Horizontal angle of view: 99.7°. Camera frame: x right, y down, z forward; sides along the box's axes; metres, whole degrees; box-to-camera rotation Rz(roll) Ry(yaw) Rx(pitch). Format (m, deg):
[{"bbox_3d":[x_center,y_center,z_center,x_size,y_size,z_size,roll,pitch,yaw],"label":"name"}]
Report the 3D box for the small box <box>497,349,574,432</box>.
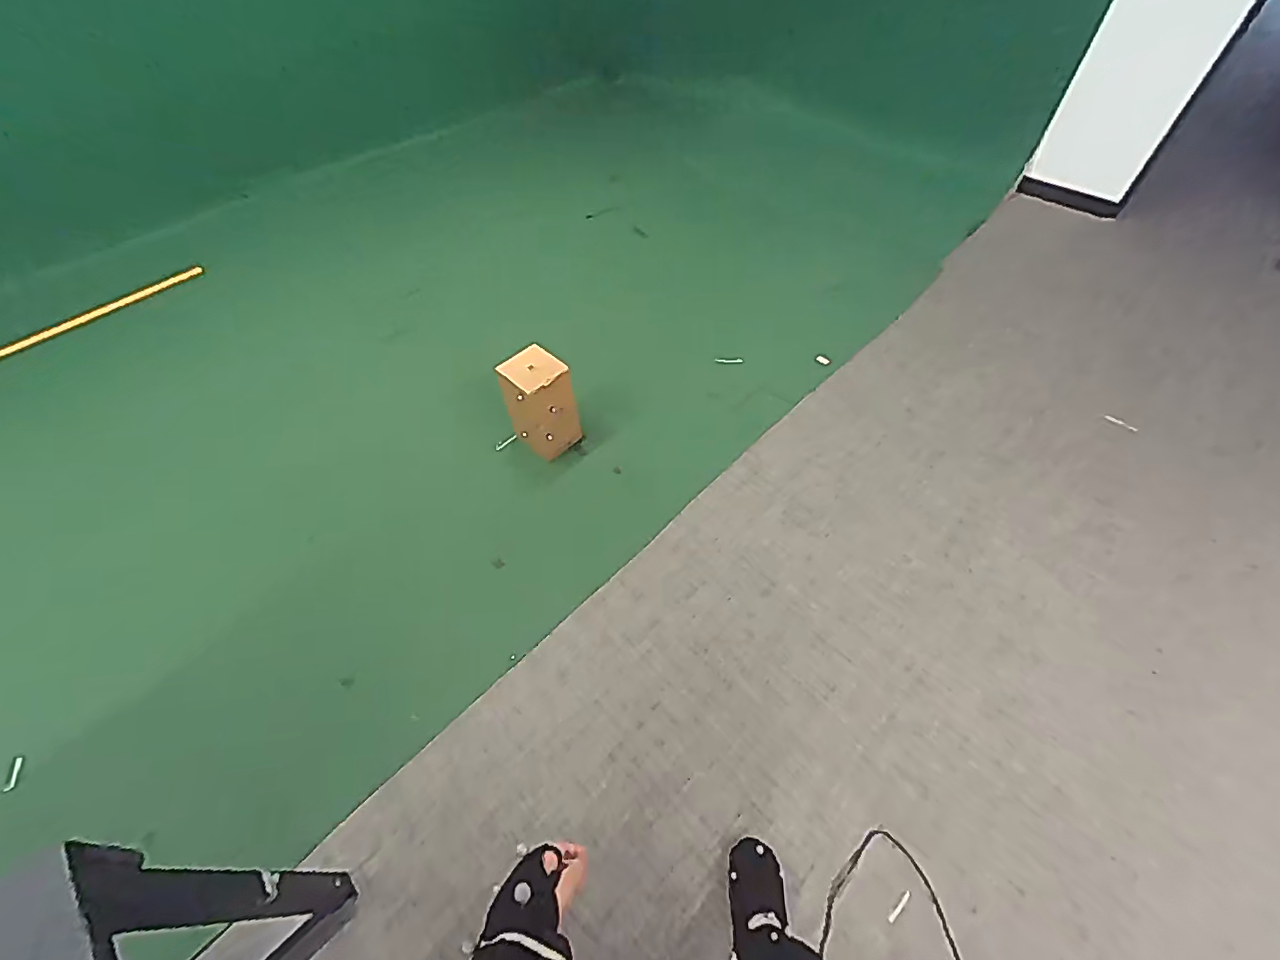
[{"bbox_3d":[-0.333,-0.287,1.748,0.179,0.176,0.168,38,61,26],"label":"small box"}]
